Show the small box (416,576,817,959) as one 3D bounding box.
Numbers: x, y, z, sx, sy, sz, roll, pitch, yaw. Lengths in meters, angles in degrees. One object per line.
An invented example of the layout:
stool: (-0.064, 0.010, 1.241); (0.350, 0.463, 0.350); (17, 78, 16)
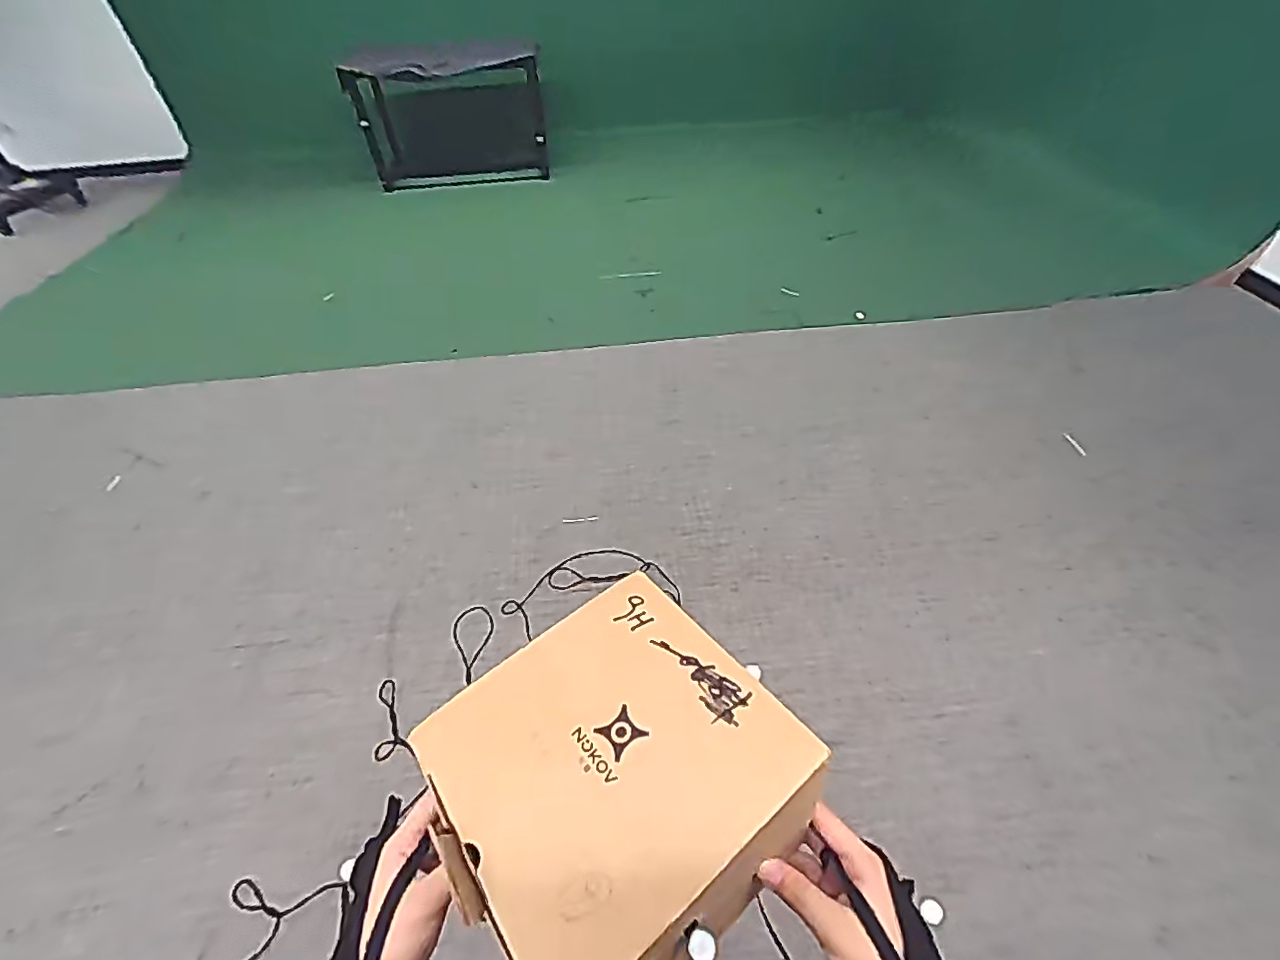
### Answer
small box: (-0.008, 0.207, 0.356); (0.179, 0.176, 0.168); (-32, 47, -23)
